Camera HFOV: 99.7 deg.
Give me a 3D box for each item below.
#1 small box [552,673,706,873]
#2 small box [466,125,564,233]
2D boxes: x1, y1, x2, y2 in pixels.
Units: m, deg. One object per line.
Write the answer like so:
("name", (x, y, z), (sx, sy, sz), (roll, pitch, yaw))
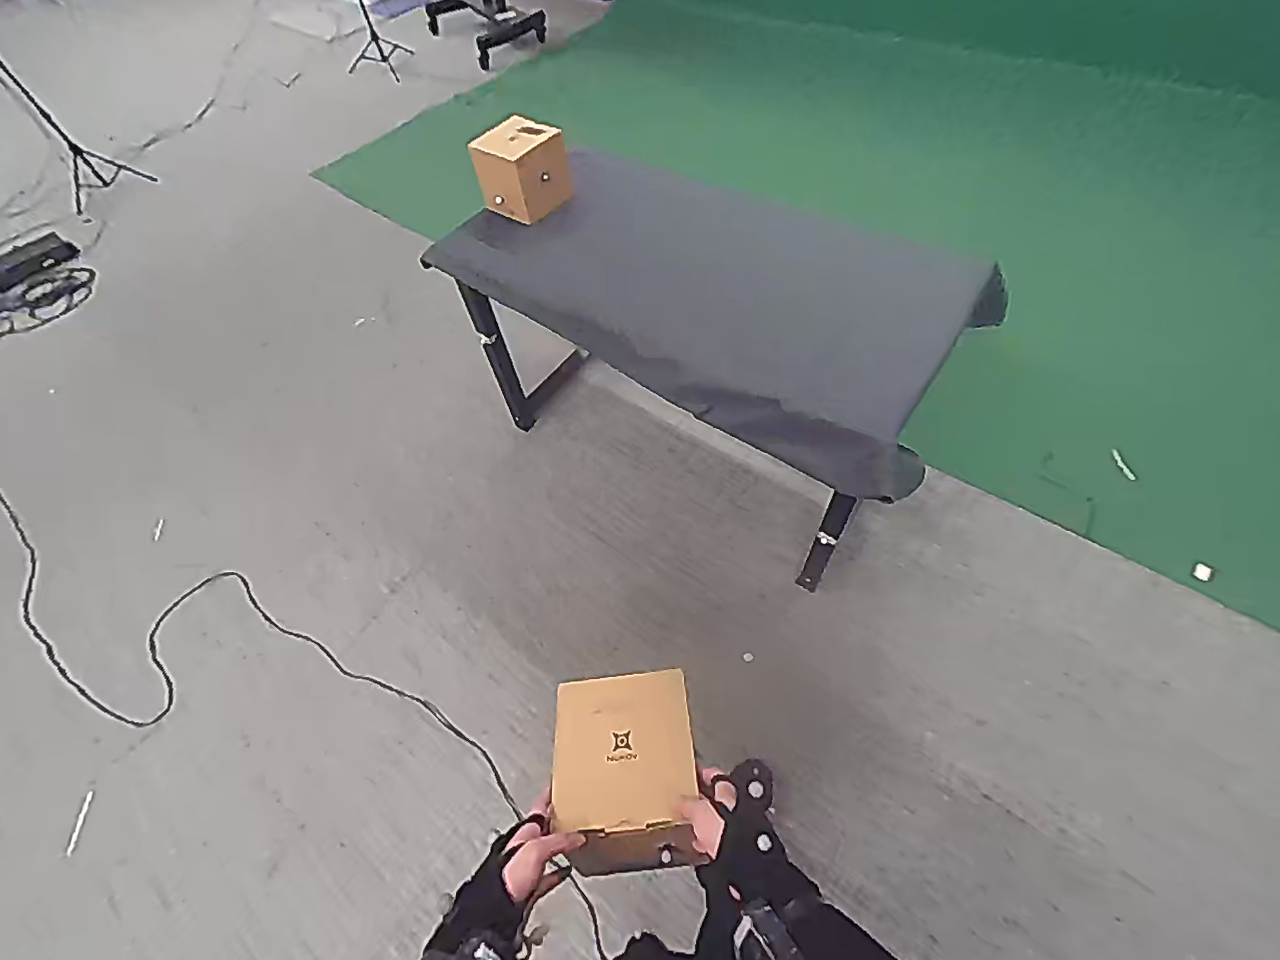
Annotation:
("small box", (-0.011, 0.380, 0.696), (0.168, 0.176, 0.179), (-9, 40, 1))
("small box", (-0.316, -0.787, 1.418), (0.168, 0.176, 0.179), (30, 64, 22))
